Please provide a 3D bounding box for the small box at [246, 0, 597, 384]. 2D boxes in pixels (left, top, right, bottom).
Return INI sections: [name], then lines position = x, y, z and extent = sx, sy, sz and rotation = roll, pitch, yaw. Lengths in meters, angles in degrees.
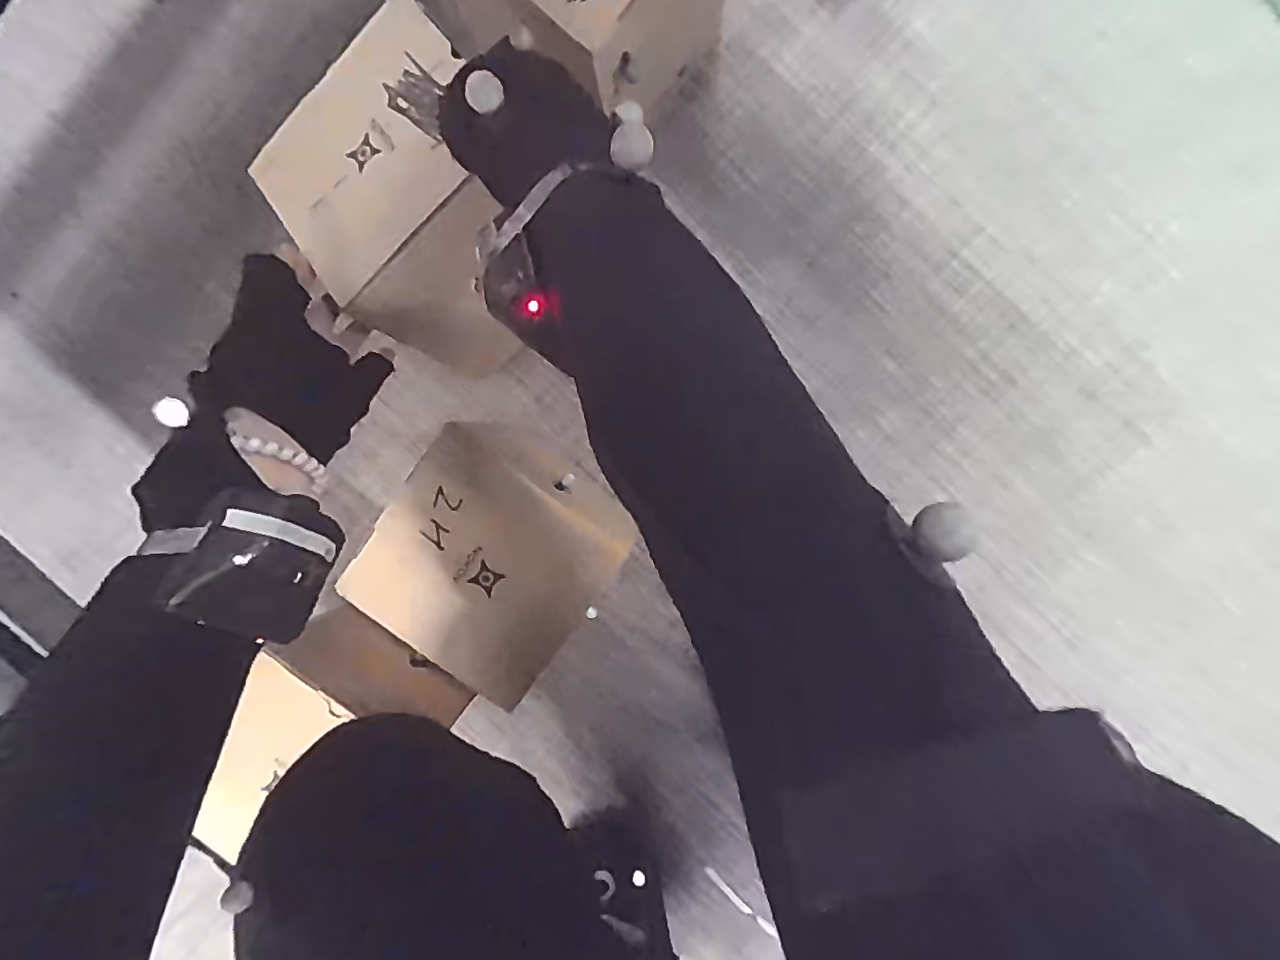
[small box]
position = -0.156, -0.208, 0.439
extent = 0.179, 0.176, 0.168
rotation = -41, 73, 10
